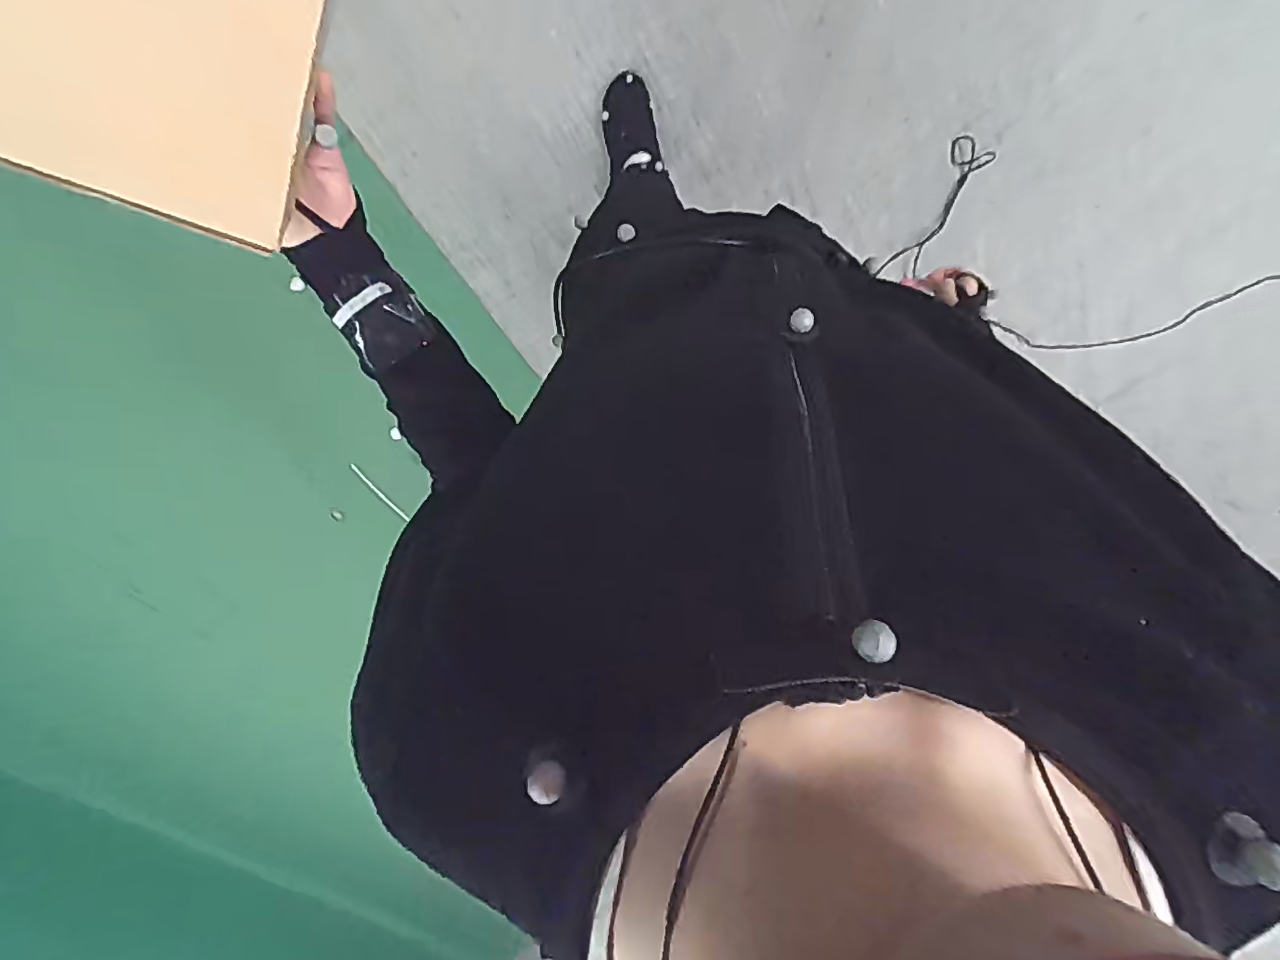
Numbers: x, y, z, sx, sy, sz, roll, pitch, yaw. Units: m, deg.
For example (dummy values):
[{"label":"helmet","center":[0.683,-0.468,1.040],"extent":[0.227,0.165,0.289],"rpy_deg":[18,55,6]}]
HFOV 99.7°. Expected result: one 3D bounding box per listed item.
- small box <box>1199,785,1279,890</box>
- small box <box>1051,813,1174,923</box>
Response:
[{"label":"small box","center":[1.558,0.867,1.329],"extent":[0.179,0.176,0.168],"rpy_deg":[-15,121,9]},{"label":"small box","center":[1.223,1.004,1.407],"extent":[0.179,0.176,0.168],"rpy_deg":[-28,118,14]}]
